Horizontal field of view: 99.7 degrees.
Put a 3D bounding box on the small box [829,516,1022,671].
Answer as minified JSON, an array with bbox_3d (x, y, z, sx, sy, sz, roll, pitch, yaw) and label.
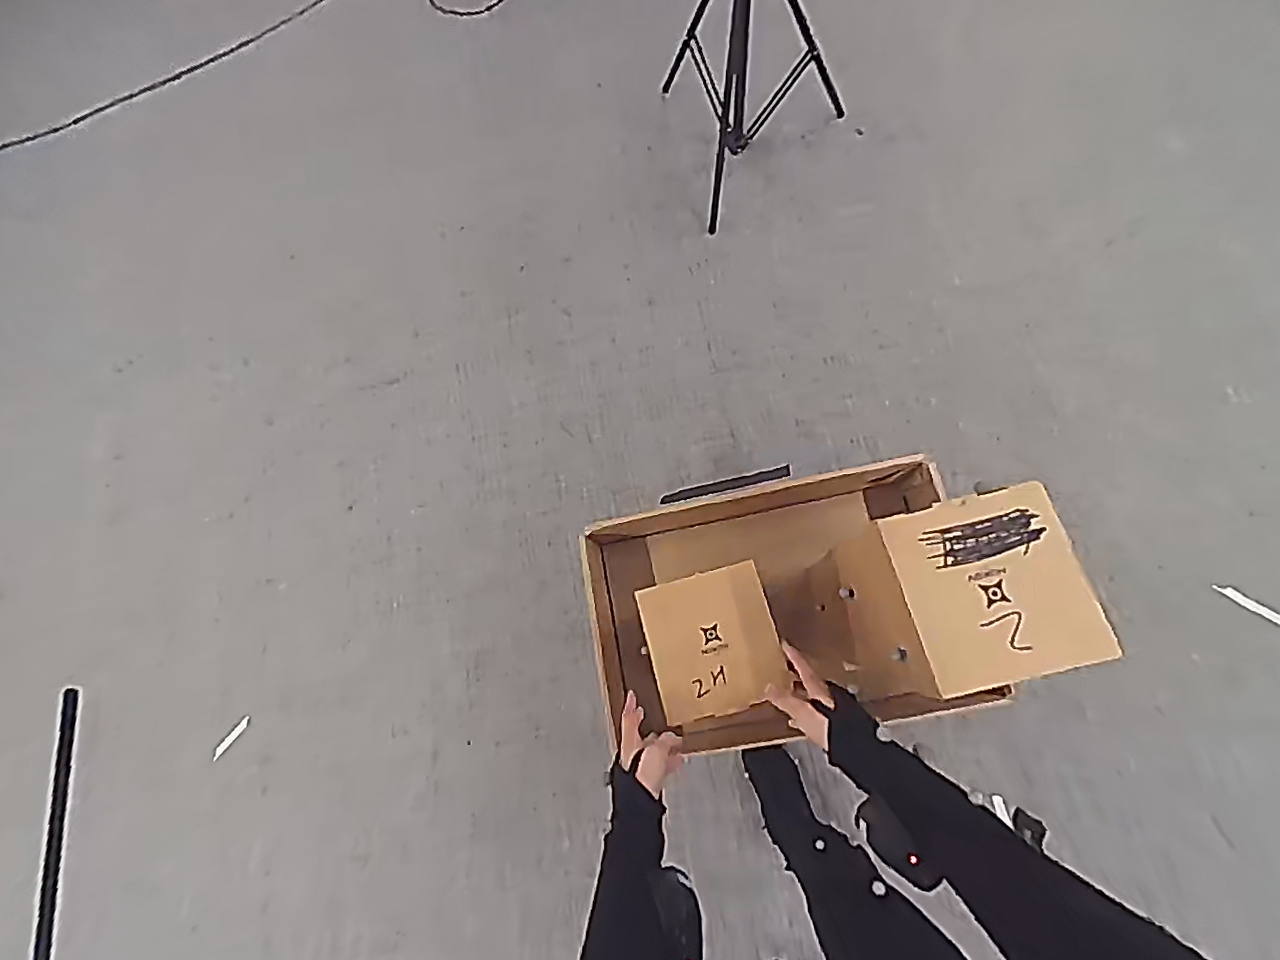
[{"bbox_3d":[0.373,0.162,0.747,0.168,0.176,0.179,-9,73,5],"label":"small box"}]

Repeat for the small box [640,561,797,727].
[{"bbox_3d":[0.104,0.229,0.768,0.168,0.176,0.179,-16,74,2],"label":"small box"}]
